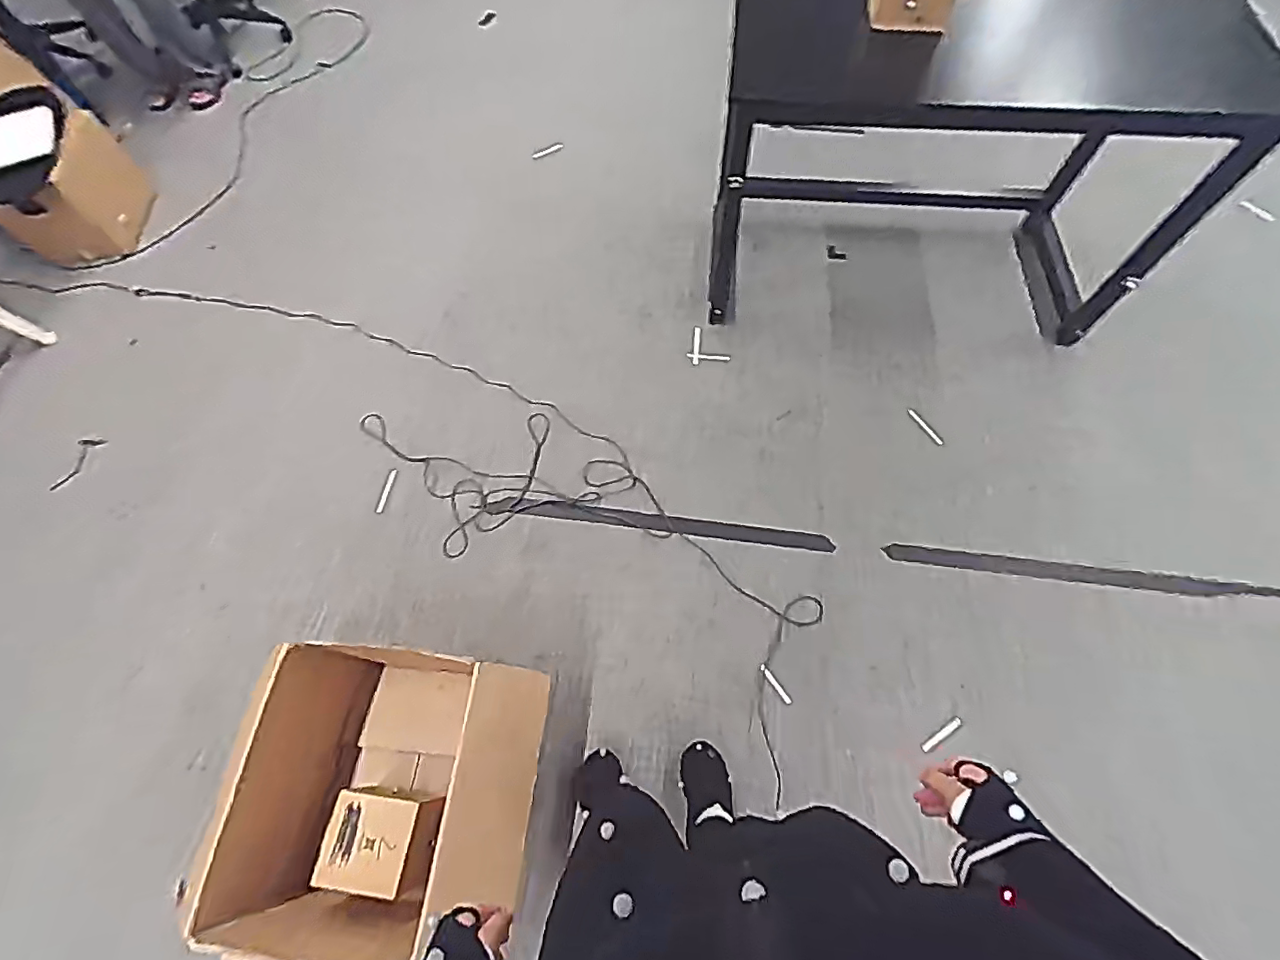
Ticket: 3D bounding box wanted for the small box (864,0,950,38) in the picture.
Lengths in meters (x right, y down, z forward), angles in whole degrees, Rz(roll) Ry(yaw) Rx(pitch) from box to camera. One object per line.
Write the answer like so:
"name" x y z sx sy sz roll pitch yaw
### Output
"small box" 0.630 -1.169 1.251 0.168 0.176 0.179 6 65 5
